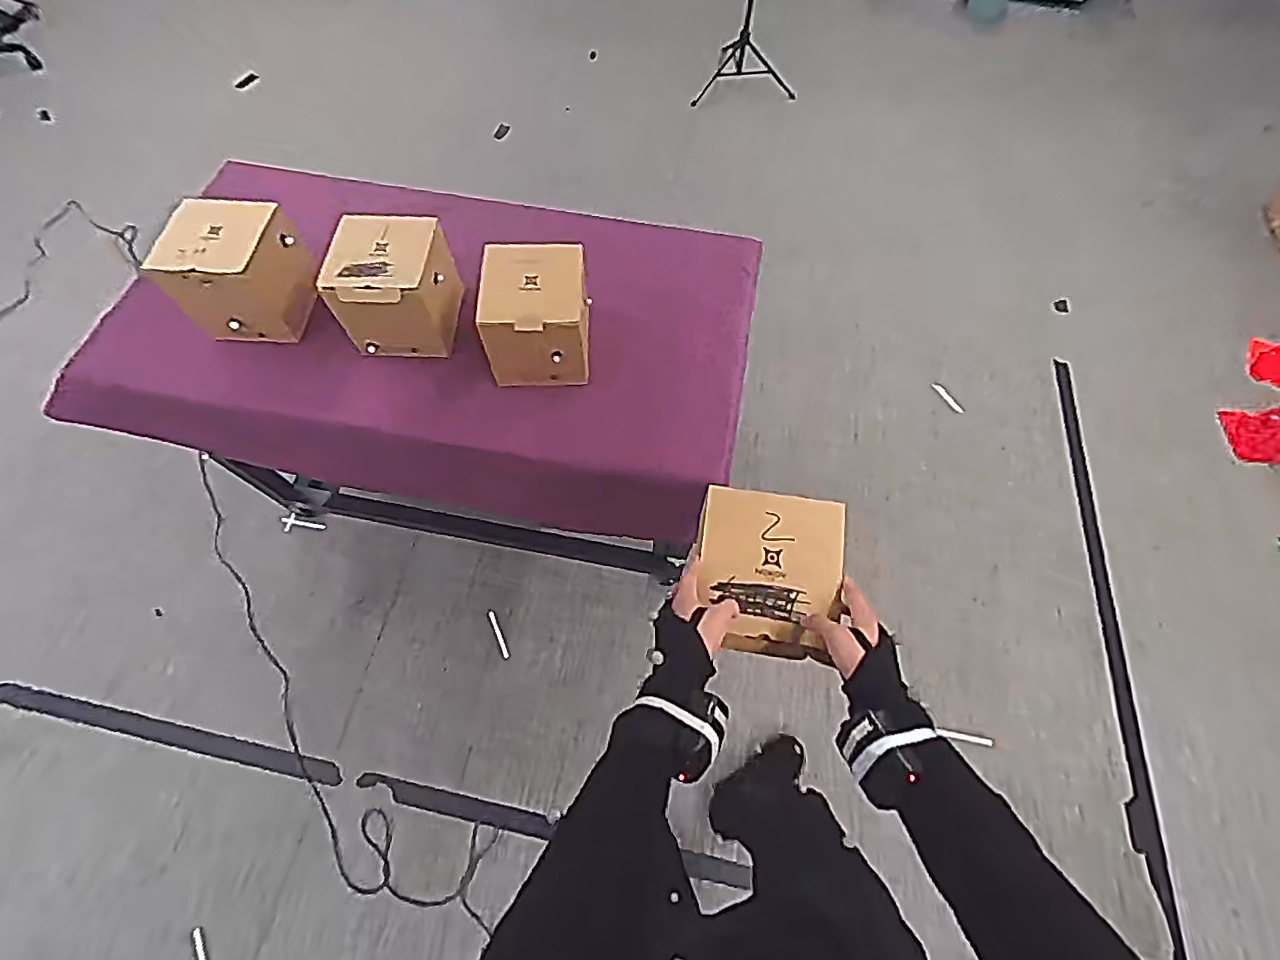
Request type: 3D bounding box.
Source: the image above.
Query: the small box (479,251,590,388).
[{"bbox_3d":[-0.175,-0.278,0.959,0.168,0.176,0.179,-1,64,-2],"label":"small box"}]

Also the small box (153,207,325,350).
[{"bbox_3d":[-0.712,-0.364,0.988,0.168,0.176,0.179,2,64,0],"label":"small box"}]

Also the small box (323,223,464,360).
[{"bbox_3d":[-0.431,-0.335,0.980,0.168,0.176,0.179,1,63,-1],"label":"small box"}]
